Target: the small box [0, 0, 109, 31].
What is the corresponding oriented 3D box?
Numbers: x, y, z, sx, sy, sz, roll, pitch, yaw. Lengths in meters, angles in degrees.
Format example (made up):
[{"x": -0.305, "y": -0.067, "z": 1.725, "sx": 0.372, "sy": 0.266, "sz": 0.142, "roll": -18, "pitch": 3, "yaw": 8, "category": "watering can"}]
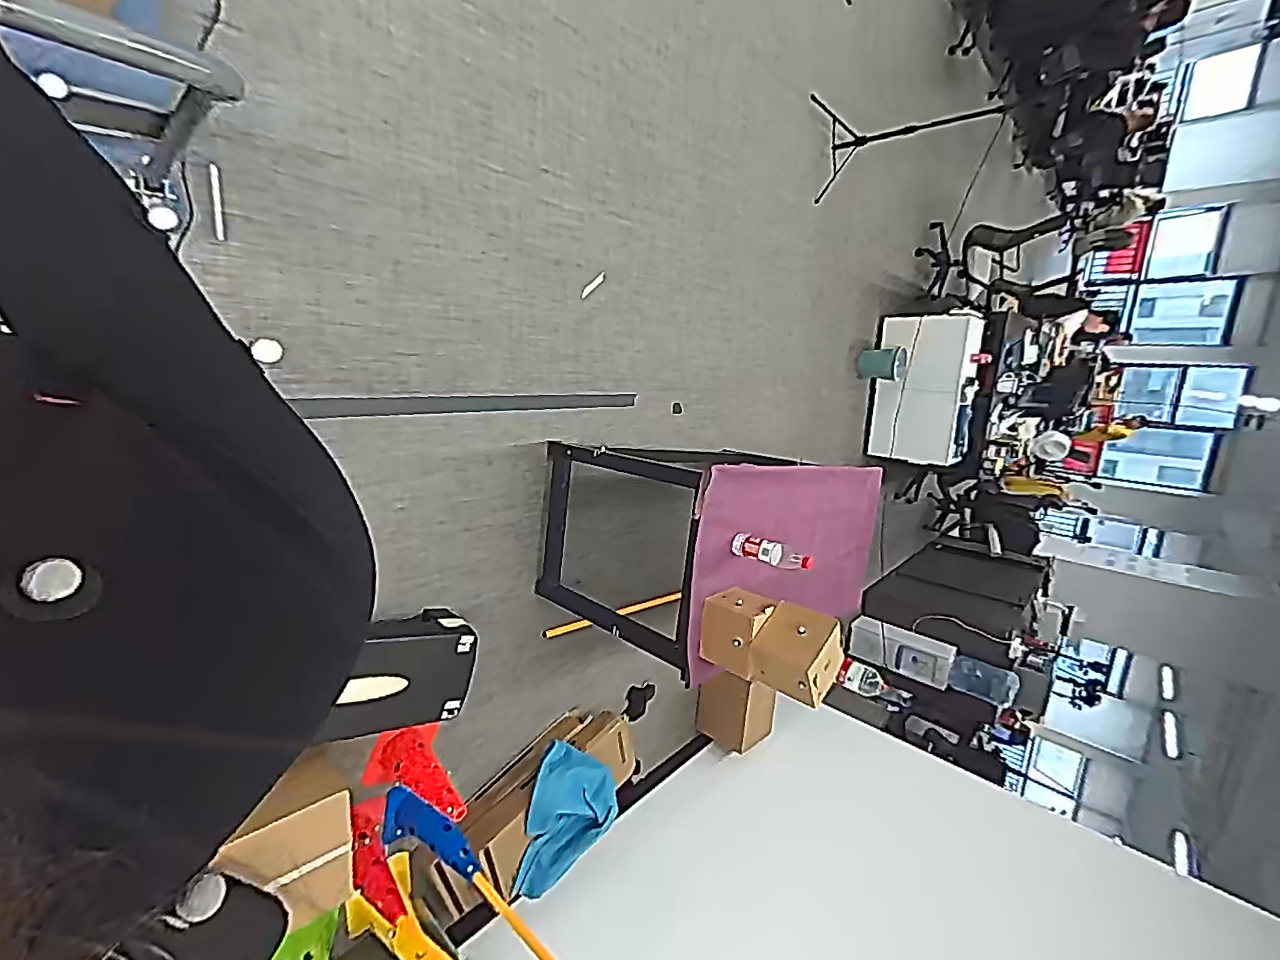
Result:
[{"x": -0.868, "y": -0.771, "z": 0.747, "sx": 0.179, "sy": 0.176, "sz": 0.168, "roll": -15, "pitch": 111, "yaw": -44, "category": "small box"}]
